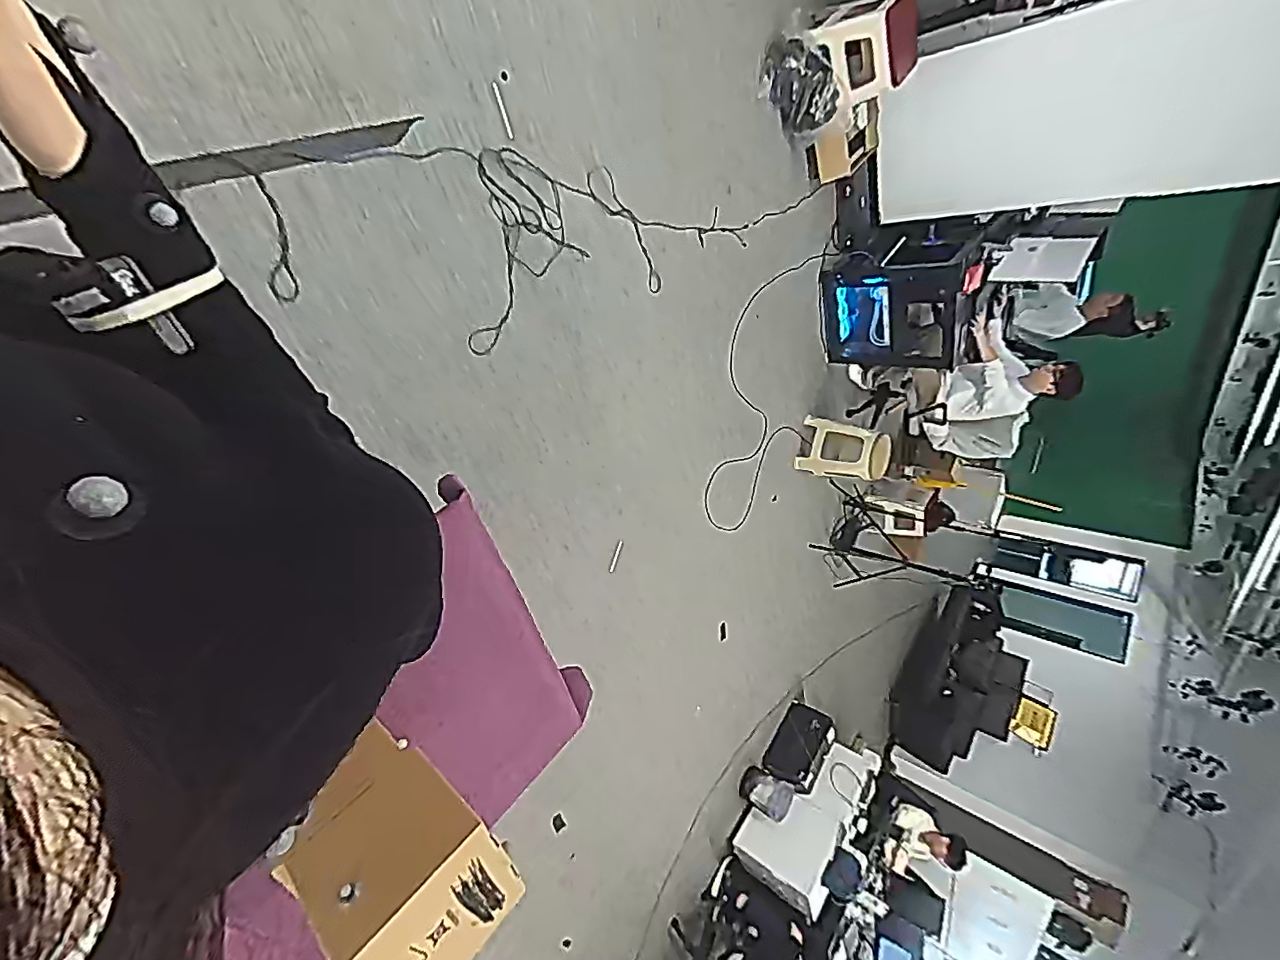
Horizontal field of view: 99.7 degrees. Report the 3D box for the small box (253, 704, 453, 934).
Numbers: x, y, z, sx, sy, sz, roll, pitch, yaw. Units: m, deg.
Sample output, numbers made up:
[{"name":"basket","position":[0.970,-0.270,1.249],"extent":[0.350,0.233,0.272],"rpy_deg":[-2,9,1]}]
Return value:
[{"name":"small box","position":[-0.404,0.460,0.758],"extent":[0.179,0.176,0.168],"rpy_deg":[-38,127,-36]}]
